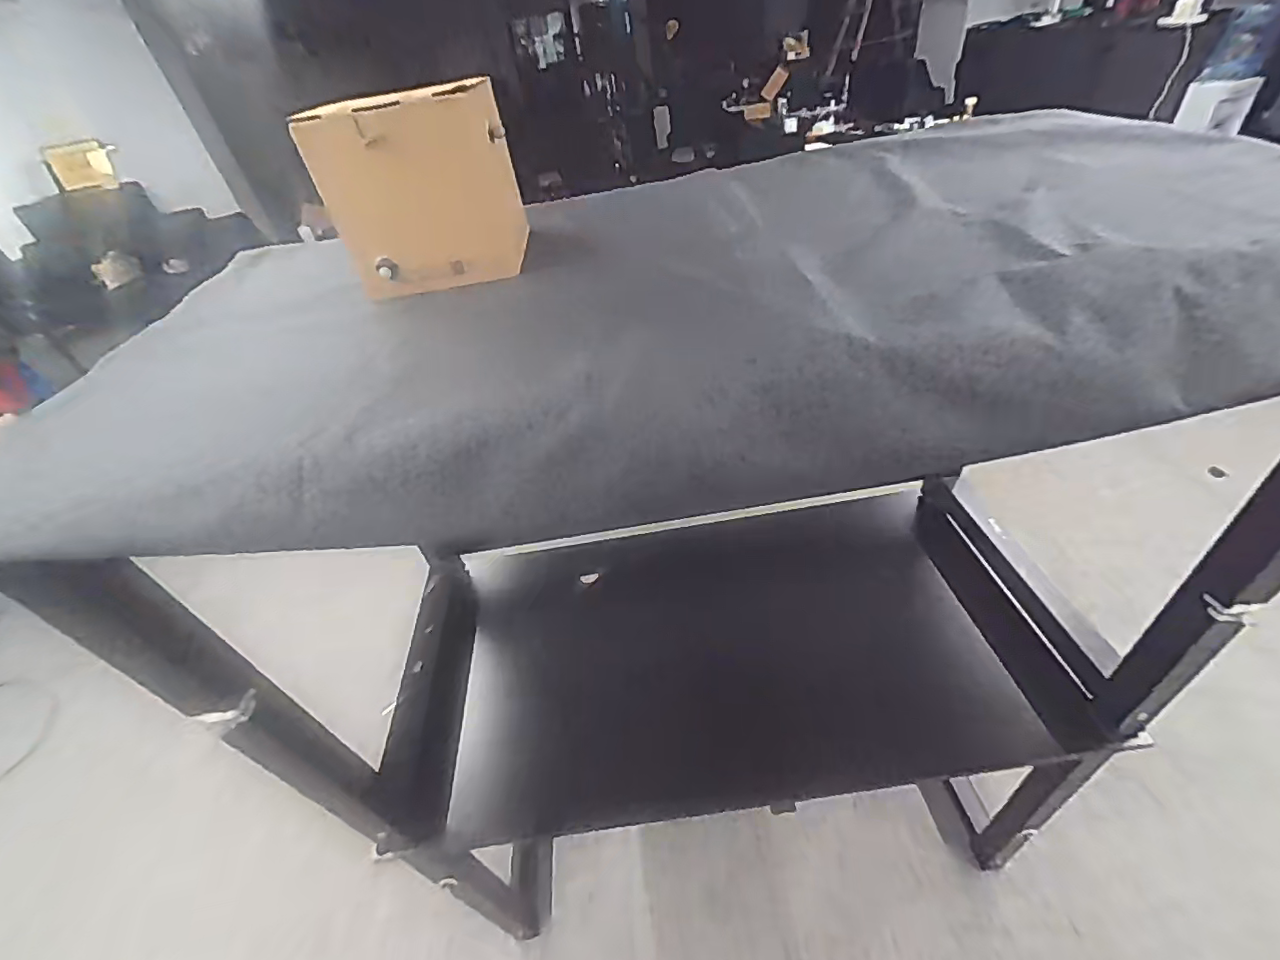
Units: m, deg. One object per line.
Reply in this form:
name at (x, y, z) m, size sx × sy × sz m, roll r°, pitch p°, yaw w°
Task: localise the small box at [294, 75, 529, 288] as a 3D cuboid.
small box at (-0.227, -0.324, 0.597) m, size 0.168 × 0.176 × 0.179 m, roll -9°, pitch 39°, yaw 1°
